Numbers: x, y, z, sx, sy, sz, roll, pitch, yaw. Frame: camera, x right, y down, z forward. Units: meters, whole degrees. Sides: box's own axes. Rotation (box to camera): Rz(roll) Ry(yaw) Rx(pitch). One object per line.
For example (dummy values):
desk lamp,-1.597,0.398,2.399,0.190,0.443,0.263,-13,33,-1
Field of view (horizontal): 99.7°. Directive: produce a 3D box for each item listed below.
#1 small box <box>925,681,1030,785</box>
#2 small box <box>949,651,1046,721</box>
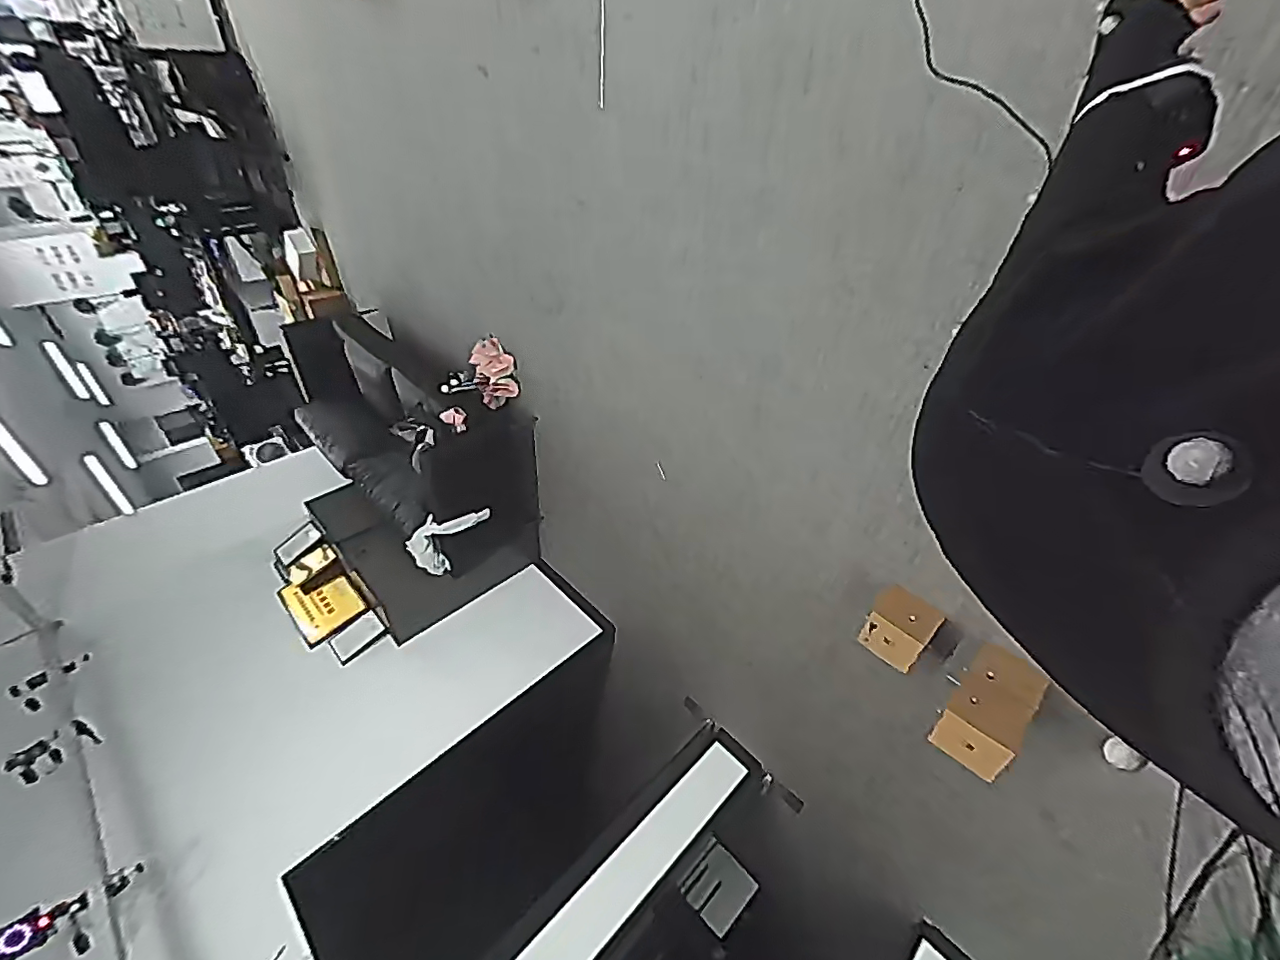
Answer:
small box,0.945,0.696,1.516,0.179,0.176,0.168,32,136,33
small box,1.063,0.642,1.615,0.179,0.176,0.168,32,136,33
